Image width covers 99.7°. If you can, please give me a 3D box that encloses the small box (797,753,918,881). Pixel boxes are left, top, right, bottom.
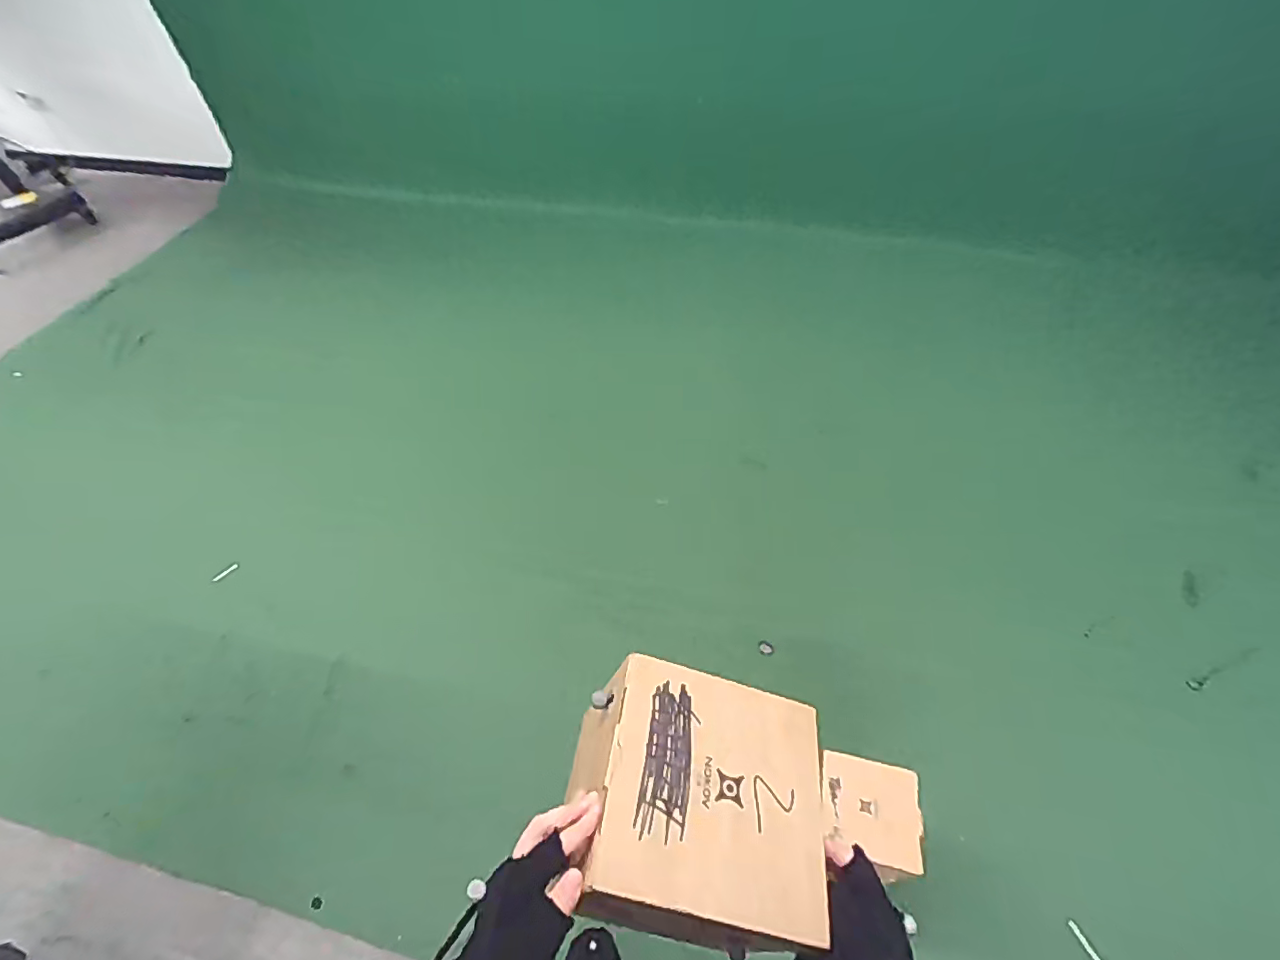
[{"bbox_3d":[0.417,0.655,1.051,0.179,0.176,0.168,11,53,10],"label":"small box"}]
